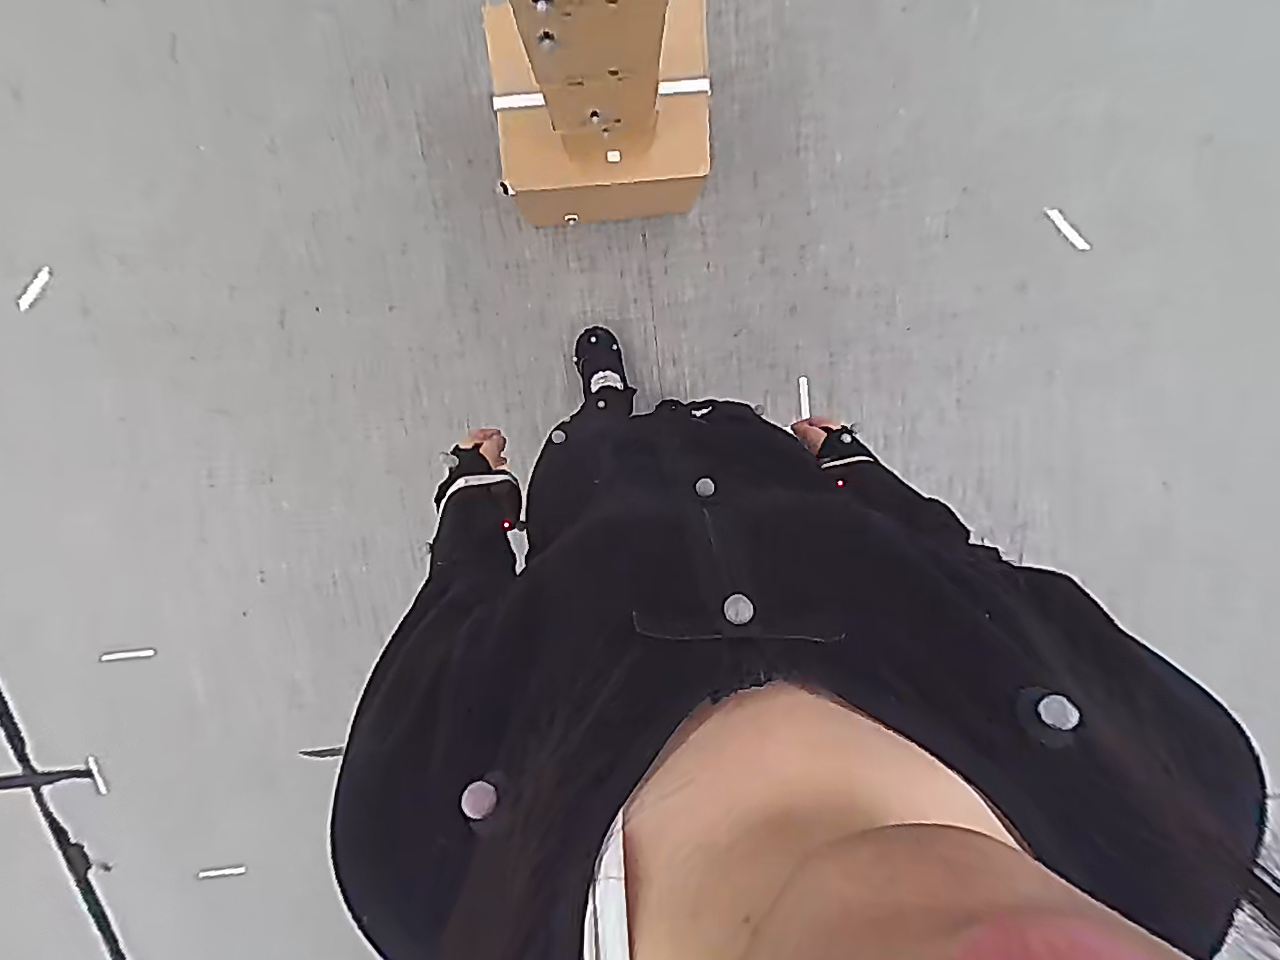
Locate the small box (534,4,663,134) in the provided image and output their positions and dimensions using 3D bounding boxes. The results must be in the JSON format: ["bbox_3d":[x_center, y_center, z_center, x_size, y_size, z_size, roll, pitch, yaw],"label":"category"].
[{"bbox_3d":[-0.061,-0.639,0.788,0.168,0.176,0.179,-6,105,0],"label":"small box"}]

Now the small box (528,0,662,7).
[{"bbox_3d":[-0.051,-0.555,0.471,0.168,0.176,0.179,-4,104,-1],"label":"small box"}]

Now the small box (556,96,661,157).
[{"bbox_3d":[-0.062,-0.686,0.944,0.179,0.176,0.168,-8,105,0],"label":"small box"}]
